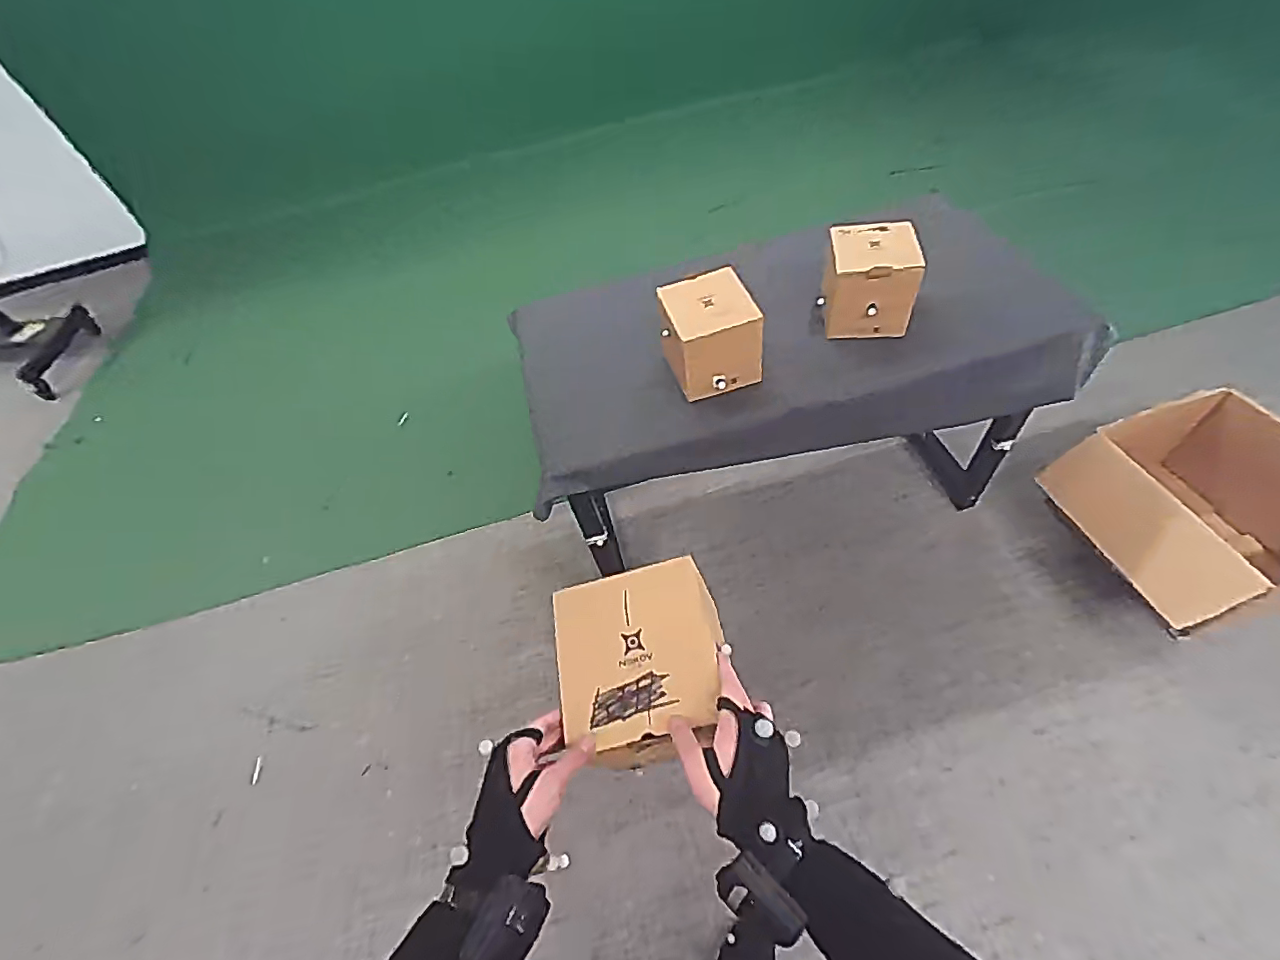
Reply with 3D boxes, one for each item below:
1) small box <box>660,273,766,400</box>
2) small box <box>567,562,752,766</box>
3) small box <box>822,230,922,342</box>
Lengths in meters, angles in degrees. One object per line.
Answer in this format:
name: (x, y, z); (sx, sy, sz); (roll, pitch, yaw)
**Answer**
small box: (0.150, -0.298, 1.133); (0.168, 0.176, 0.179); (-18, 52, -4)
small box: (0.026, 0.224, 0.634); (0.168, 0.176, 0.179); (-16, 54, 7)
small box: (0.498, -0.418, 1.184); (0.168, 0.176, 0.179); (1, 53, 11)
